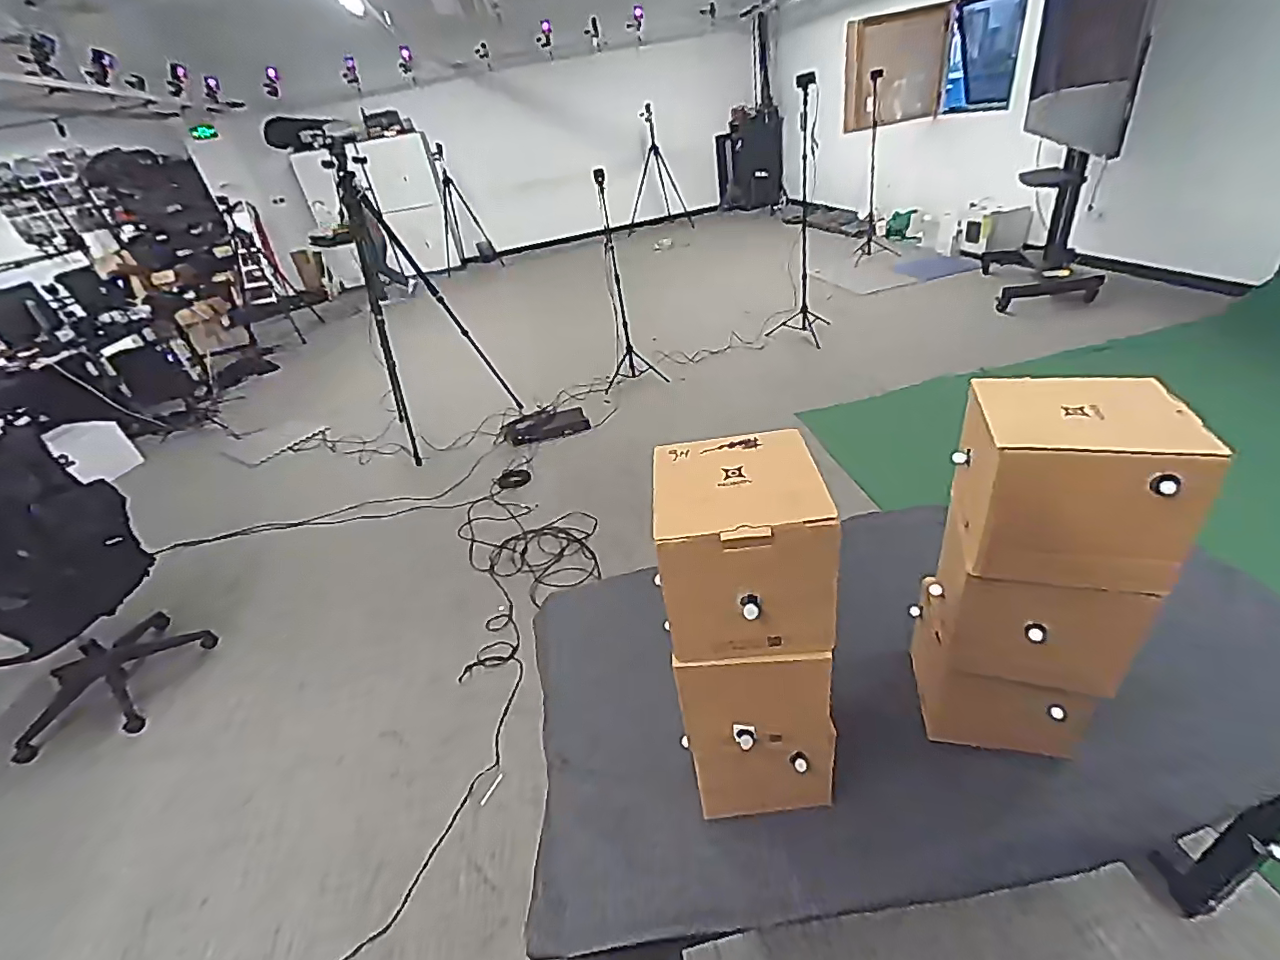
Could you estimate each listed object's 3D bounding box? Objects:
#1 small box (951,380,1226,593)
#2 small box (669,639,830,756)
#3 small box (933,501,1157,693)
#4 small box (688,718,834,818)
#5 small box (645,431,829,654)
[{"bbox_3d":[0.450,0.002,0.586,0.179,0.176,0.168,4,35,20],"label":"small box"},{"bbox_3d":[0.129,0.210,0.668,0.168,0.176,0.179,-7,34,8],"label":"small box"},{"bbox_3d":[0.478,0.137,0.673,0.179,0.176,0.168,4,35,22],"label":"small box"},{"bbox_3d":[0.156,0.342,0.758,0.179,0.176,0.168,-9,32,3],"label":"small box"},{"bbox_3d":[0.103,0.071,0.585,0.168,0.176,0.179,-7,33,7],"label":"small box"}]
